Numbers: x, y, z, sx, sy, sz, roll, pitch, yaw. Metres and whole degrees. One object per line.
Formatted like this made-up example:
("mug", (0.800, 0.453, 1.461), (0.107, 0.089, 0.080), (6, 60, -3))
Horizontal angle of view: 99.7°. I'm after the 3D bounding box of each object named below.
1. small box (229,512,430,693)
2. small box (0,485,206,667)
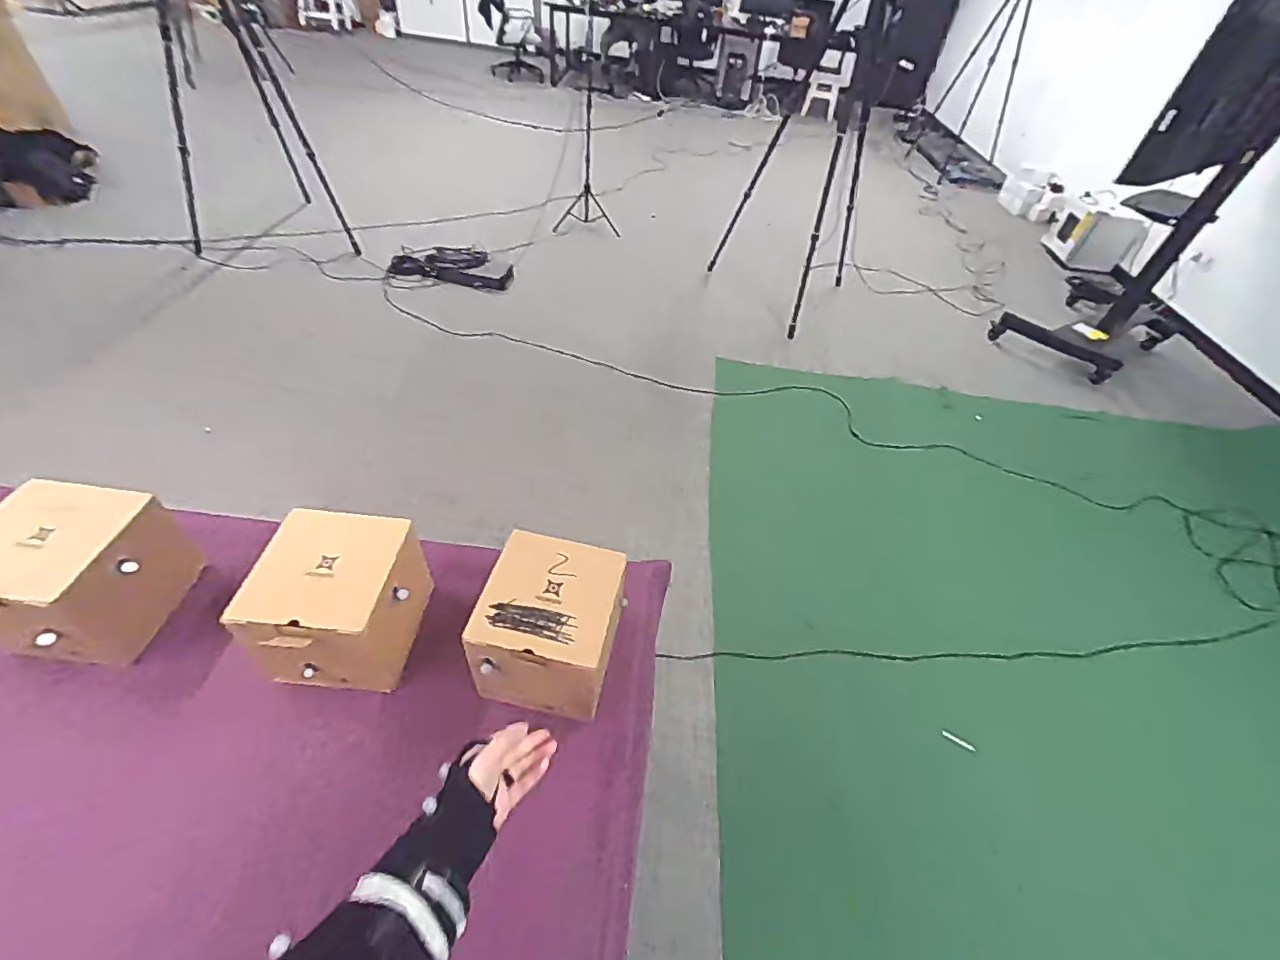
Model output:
("small box", (-0.406, 0.170, 0.749), (0.168, 0.176, 0.179), (6, 46, -2))
("small box", (-0.753, 0.134, 0.738), (0.168, 0.176, 0.179), (8, 46, -1))
